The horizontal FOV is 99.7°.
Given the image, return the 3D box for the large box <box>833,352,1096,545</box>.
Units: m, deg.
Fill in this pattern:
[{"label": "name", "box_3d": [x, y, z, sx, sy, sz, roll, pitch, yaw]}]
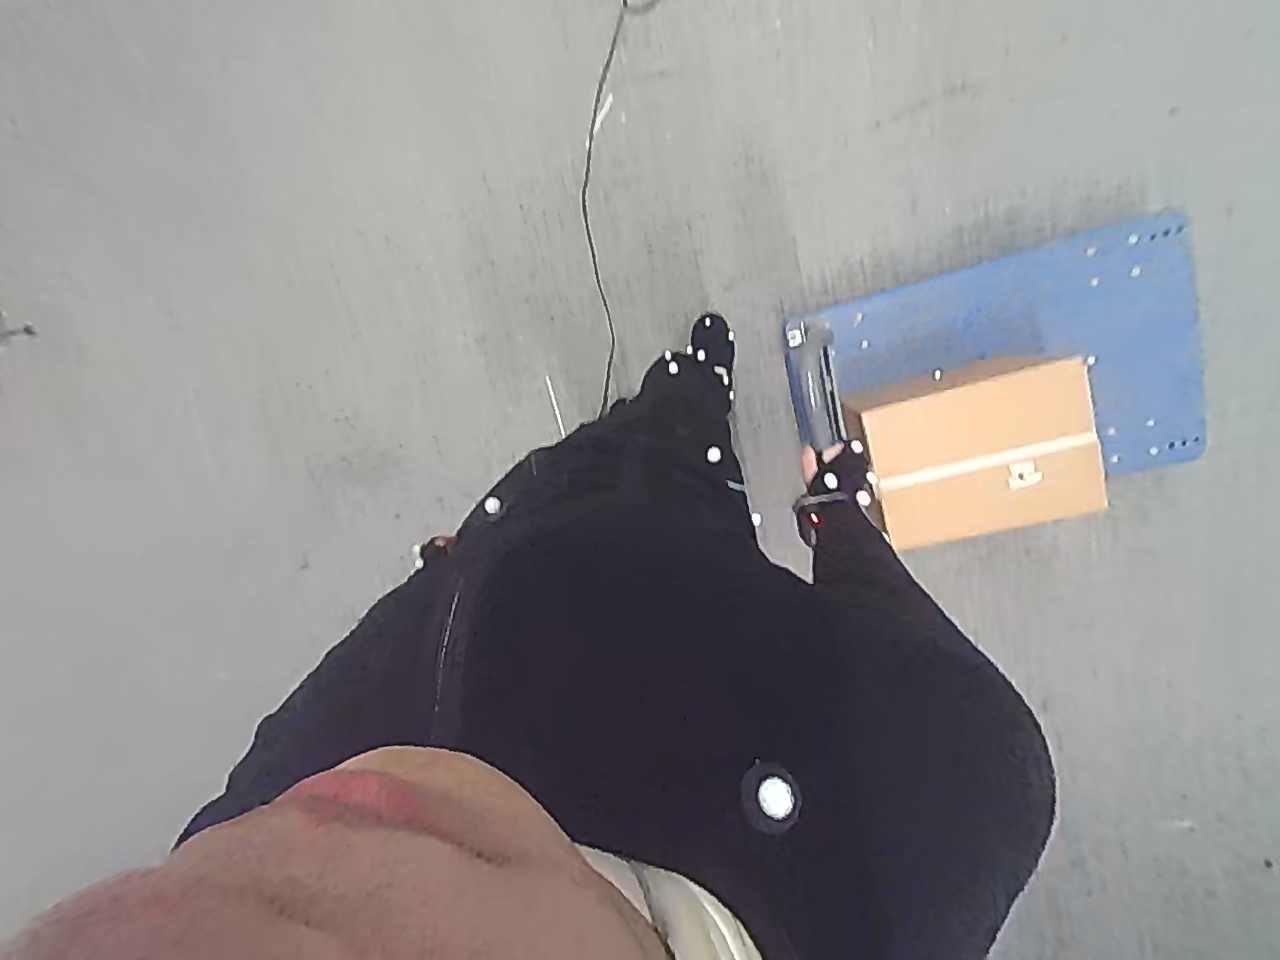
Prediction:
[{"label": "large box", "box_3d": [0.697, -0.084, 1.227, 0.408, 0.320, 0.320, -14, 102, 14]}]
